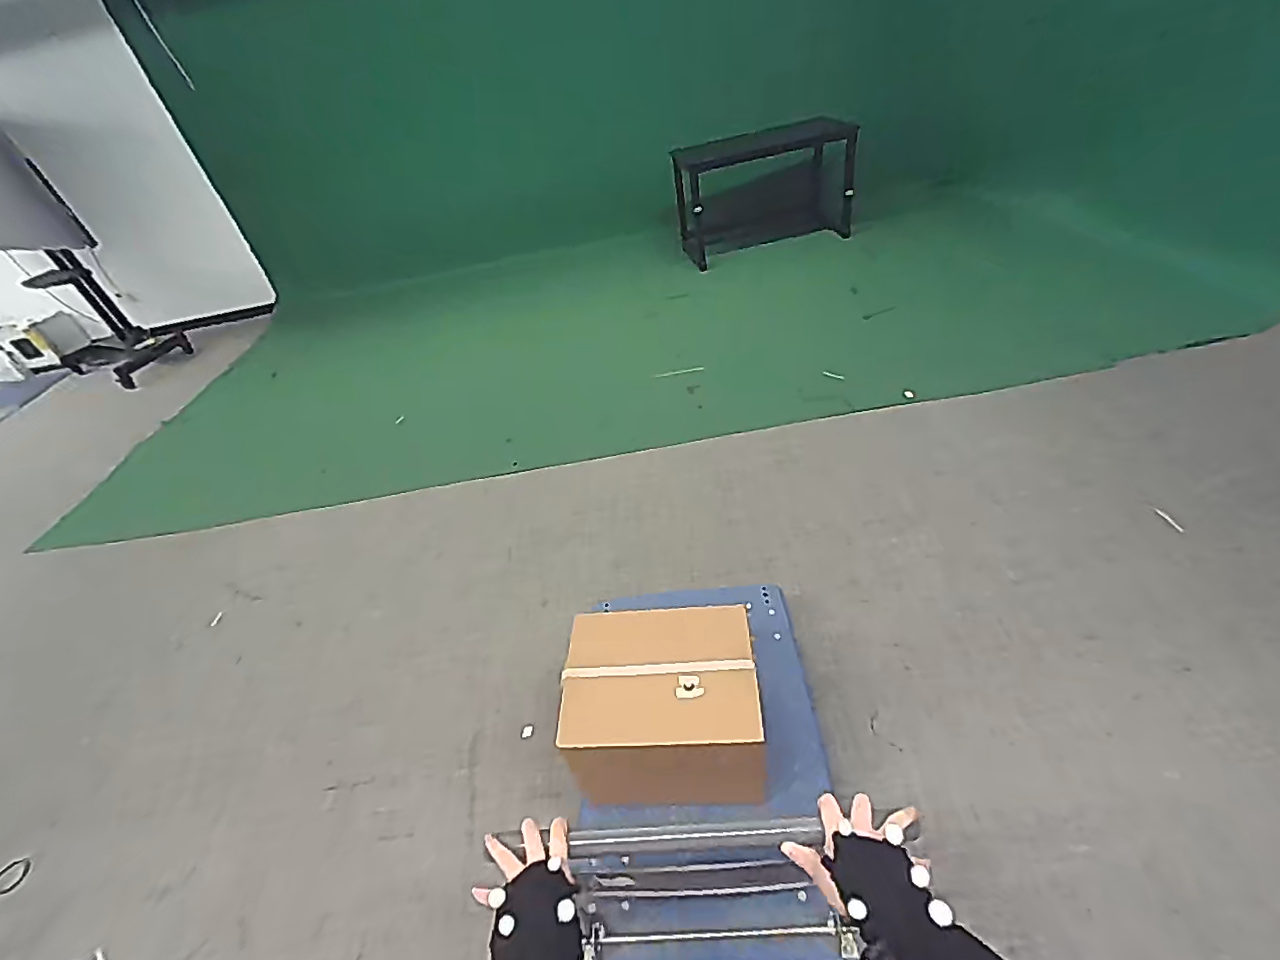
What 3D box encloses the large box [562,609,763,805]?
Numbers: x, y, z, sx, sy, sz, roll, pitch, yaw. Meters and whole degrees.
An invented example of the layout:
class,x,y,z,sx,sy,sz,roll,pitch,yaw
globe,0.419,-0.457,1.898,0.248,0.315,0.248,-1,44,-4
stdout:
class,x,y,z,sx,sy,sz,roll,pitch,yaw
large box,0.060,0.529,1.259,0.408,0.320,0.320,-5,40,6
